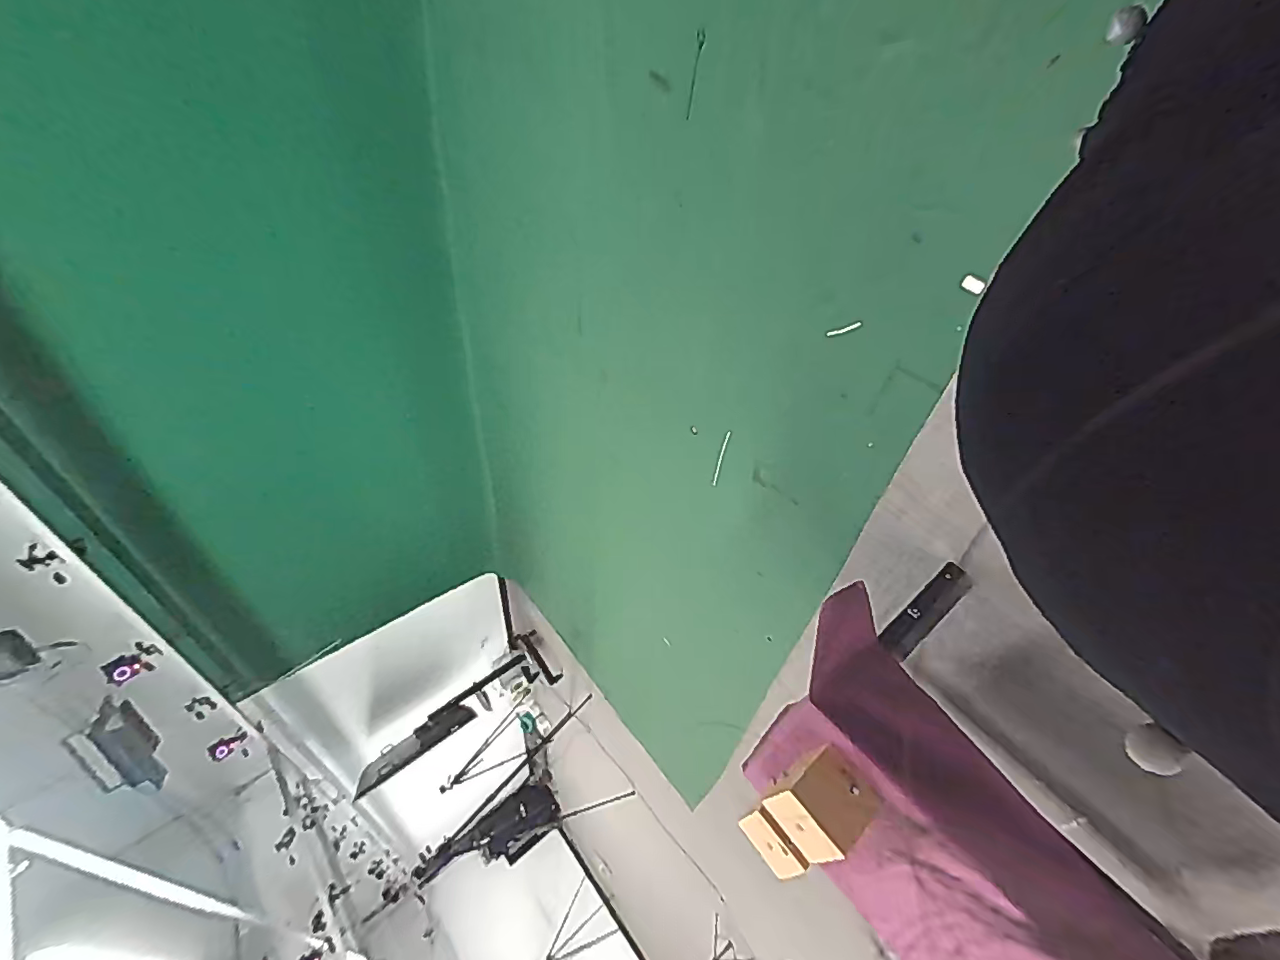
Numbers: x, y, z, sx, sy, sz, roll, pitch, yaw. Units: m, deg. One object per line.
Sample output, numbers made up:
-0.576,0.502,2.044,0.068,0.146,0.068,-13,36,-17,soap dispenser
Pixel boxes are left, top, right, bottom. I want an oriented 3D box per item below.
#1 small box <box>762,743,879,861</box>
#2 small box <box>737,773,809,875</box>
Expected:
0.427,0.760,1.280,0.168,0.176,0.179,47,146,22,small box
0.395,0.910,1.444,0.168,0.176,0.179,46,146,24,small box
